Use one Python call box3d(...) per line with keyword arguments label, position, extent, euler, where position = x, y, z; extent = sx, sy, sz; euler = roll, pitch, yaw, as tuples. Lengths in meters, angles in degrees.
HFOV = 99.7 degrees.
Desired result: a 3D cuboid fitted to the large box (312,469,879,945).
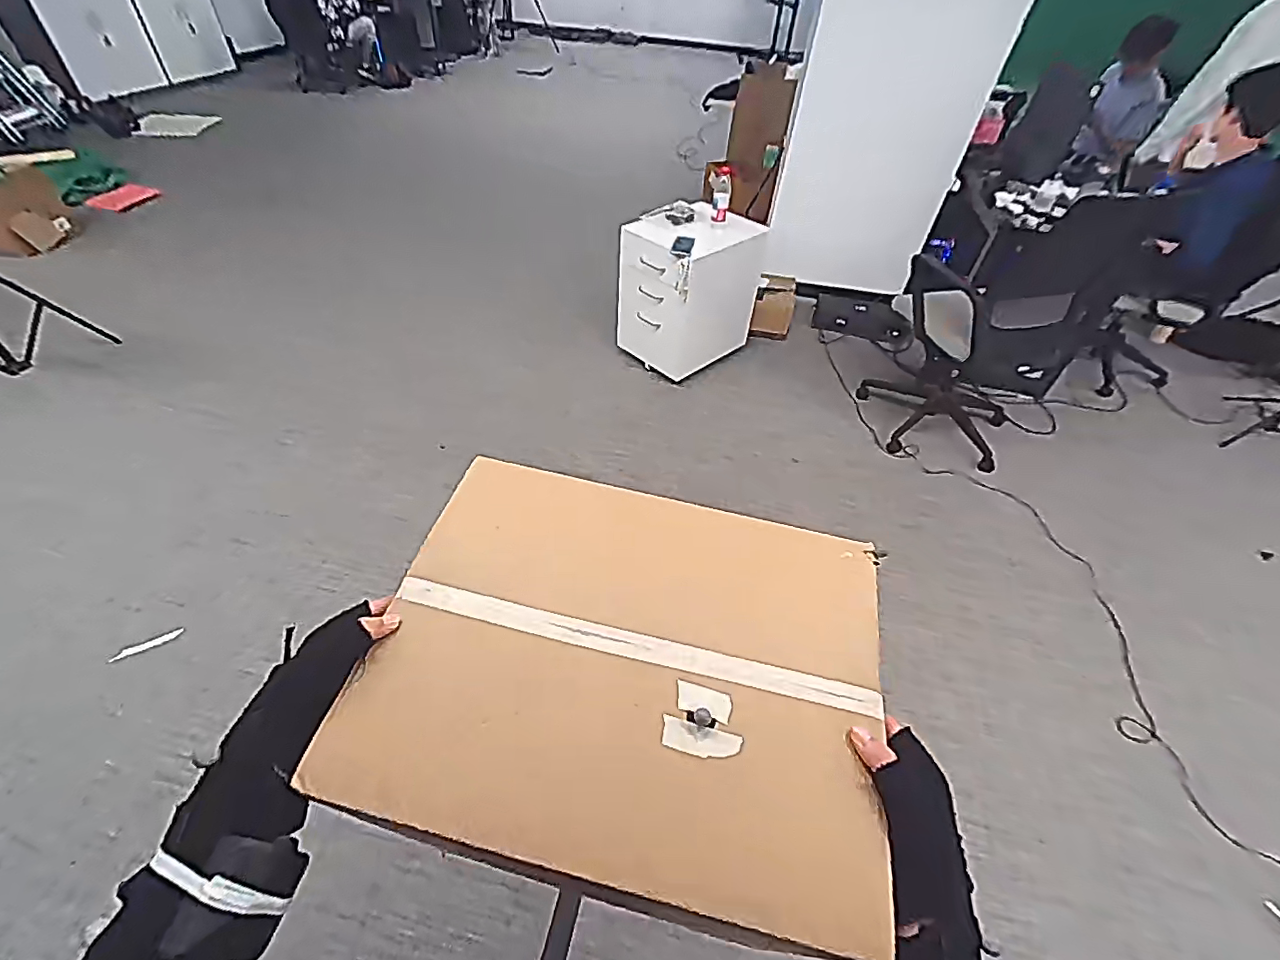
box3d(label="large box", position=(-0.019, 0.234, 0.569), extent=(0.408, 0.320, 0.320), euler=(13, 52, 5))
